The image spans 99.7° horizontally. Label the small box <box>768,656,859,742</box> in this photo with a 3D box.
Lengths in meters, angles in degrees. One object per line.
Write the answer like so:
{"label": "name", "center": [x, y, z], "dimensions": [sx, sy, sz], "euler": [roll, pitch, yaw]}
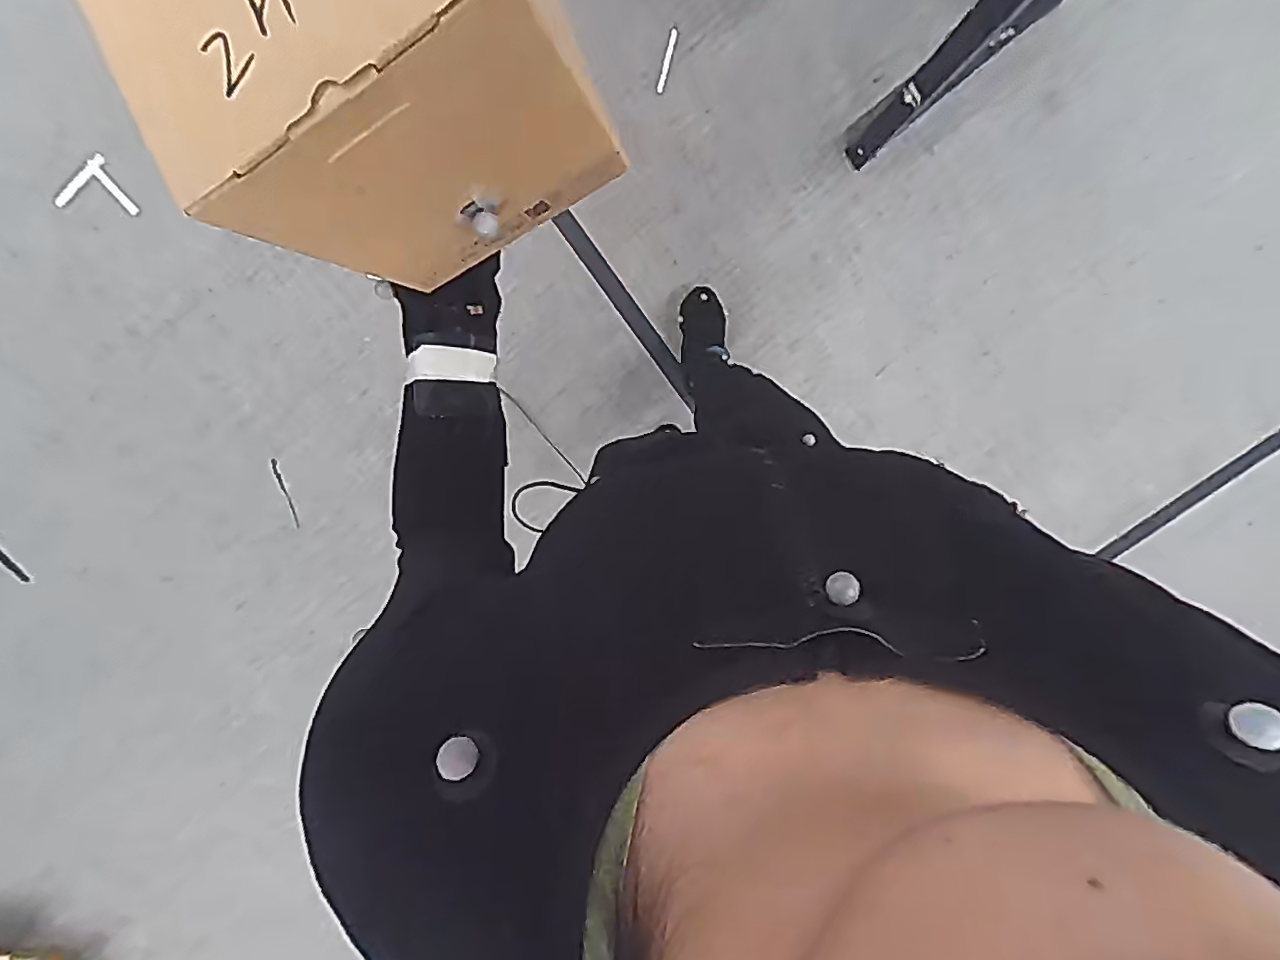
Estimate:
{"label": "small box", "center": [0.473, 0.623, 1.511], "dimensions": [0.168, 0.176, 0.179], "euler": [20, 102, -2]}

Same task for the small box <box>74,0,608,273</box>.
{"label": "small box", "center": [-0.137, -0.232, 0.277], "dimensions": [0.168, 0.176, 0.179], "euler": [-19, 96, 17]}
